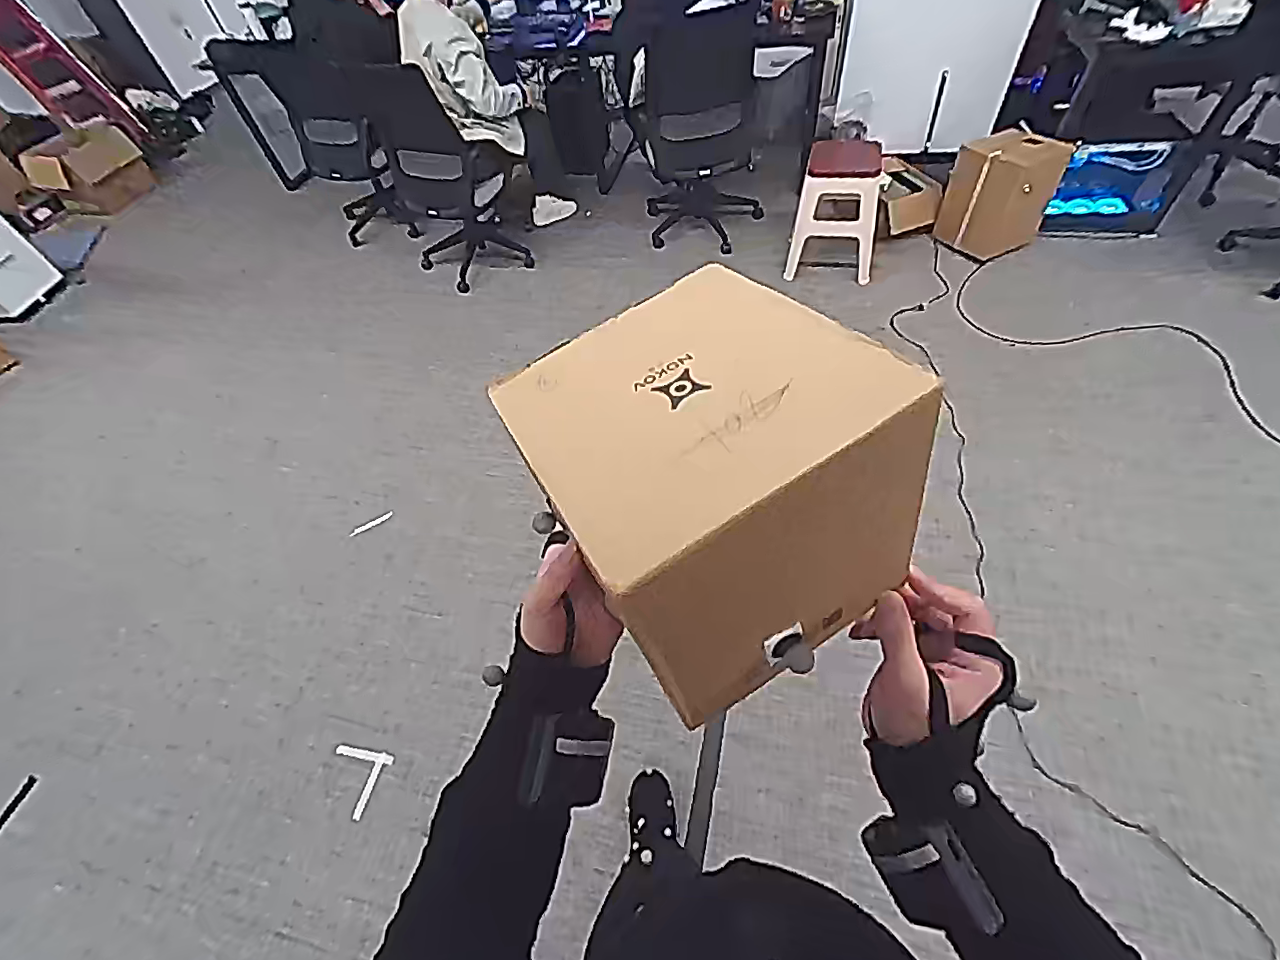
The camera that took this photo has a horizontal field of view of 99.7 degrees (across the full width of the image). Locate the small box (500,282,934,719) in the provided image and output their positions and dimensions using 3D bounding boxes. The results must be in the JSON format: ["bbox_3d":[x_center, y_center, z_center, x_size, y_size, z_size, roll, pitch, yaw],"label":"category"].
[{"bbox_3d":[0.042,0.010,0.339,0.168,0.176,0.179,-31,47,-10],"label":"small box"}]
